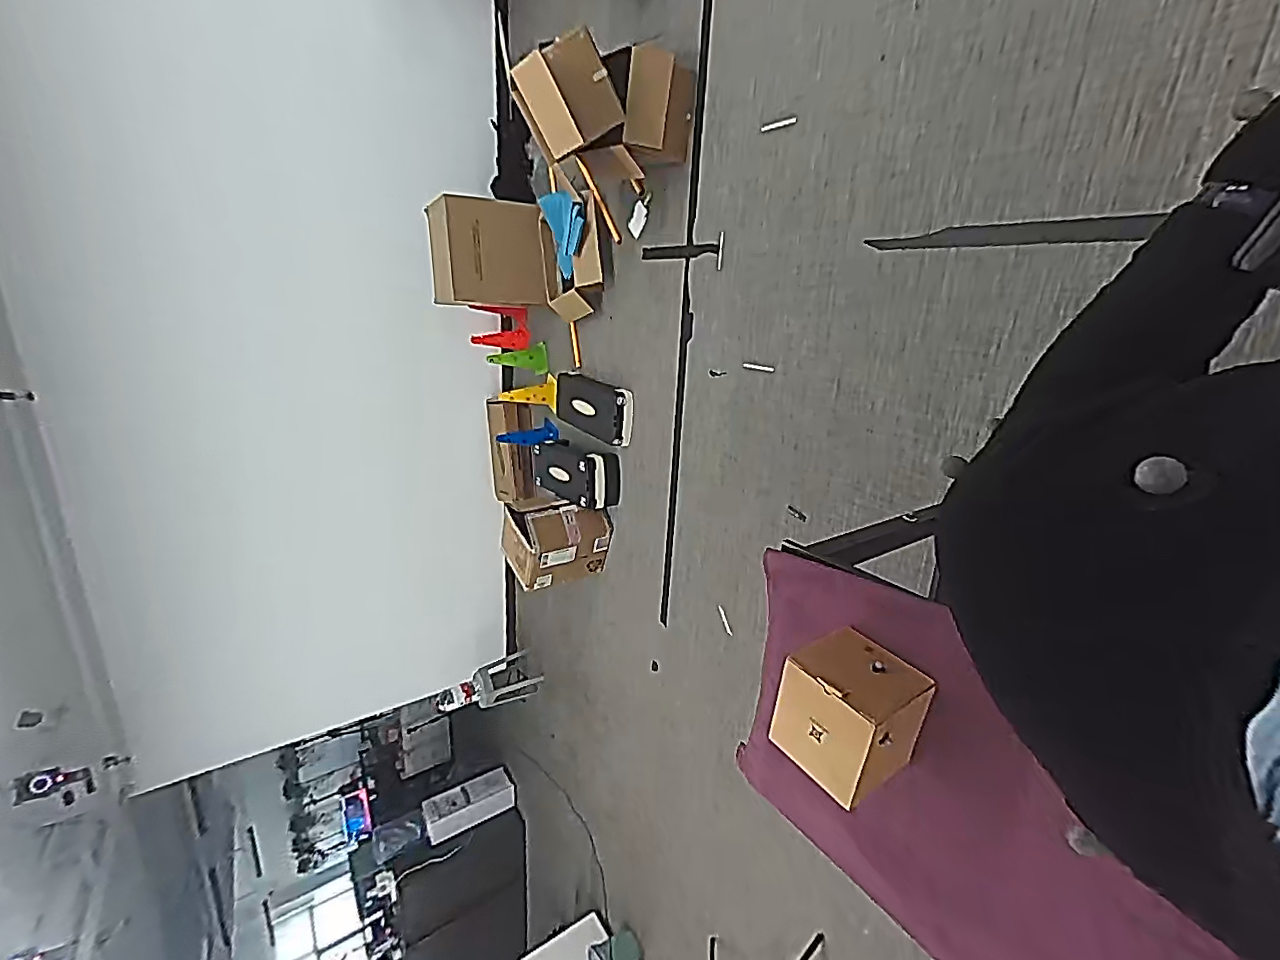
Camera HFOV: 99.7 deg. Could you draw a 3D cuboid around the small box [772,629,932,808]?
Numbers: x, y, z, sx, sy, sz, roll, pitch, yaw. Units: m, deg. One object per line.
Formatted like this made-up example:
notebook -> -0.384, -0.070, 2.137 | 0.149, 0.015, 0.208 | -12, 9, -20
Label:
small box -> 0.345, 0.378, 0.886 | 0.168, 0.176, 0.179 | 31, 123, 48
